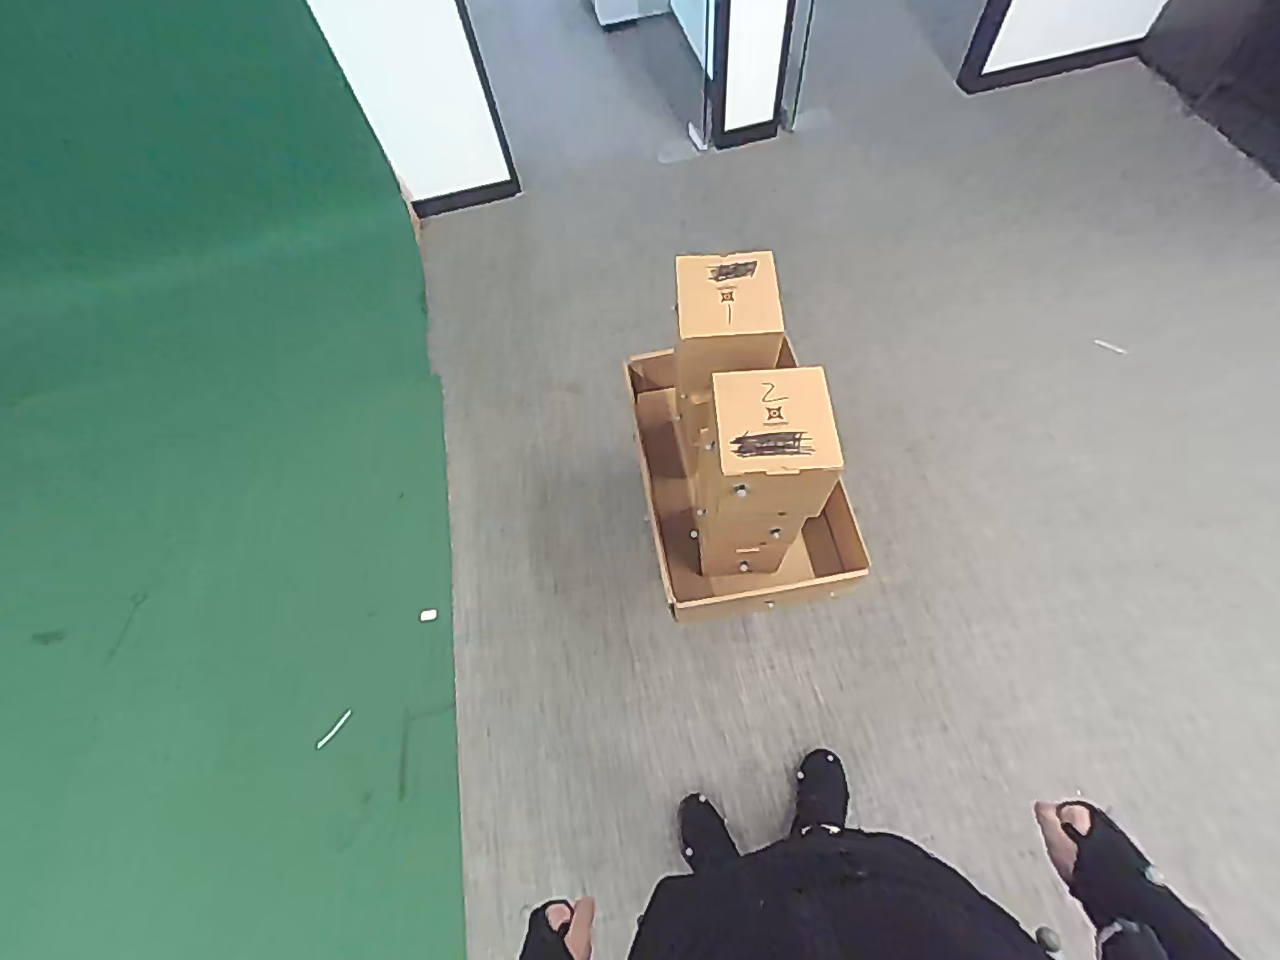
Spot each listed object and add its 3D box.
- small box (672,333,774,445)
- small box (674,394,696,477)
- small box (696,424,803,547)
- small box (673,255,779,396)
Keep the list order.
[{"bbox_3d":[0.160,-0.197,1.109,0.168,0.176,0.179,-11,65,-1],"label":"small box"},{"bbox_3d":[0.171,-0.130,1.256,0.168,0.176,0.179,-11,65,0],"label":"small box"},{"bbox_3d":[0.191,0.018,0.996,0.168,0.176,0.179,-4,63,2],"label":"small box"},{"bbox_3d":[0.143,-0.270,0.963,0.168,0.176,0.179,-3,66,3],"label":"small box"}]
